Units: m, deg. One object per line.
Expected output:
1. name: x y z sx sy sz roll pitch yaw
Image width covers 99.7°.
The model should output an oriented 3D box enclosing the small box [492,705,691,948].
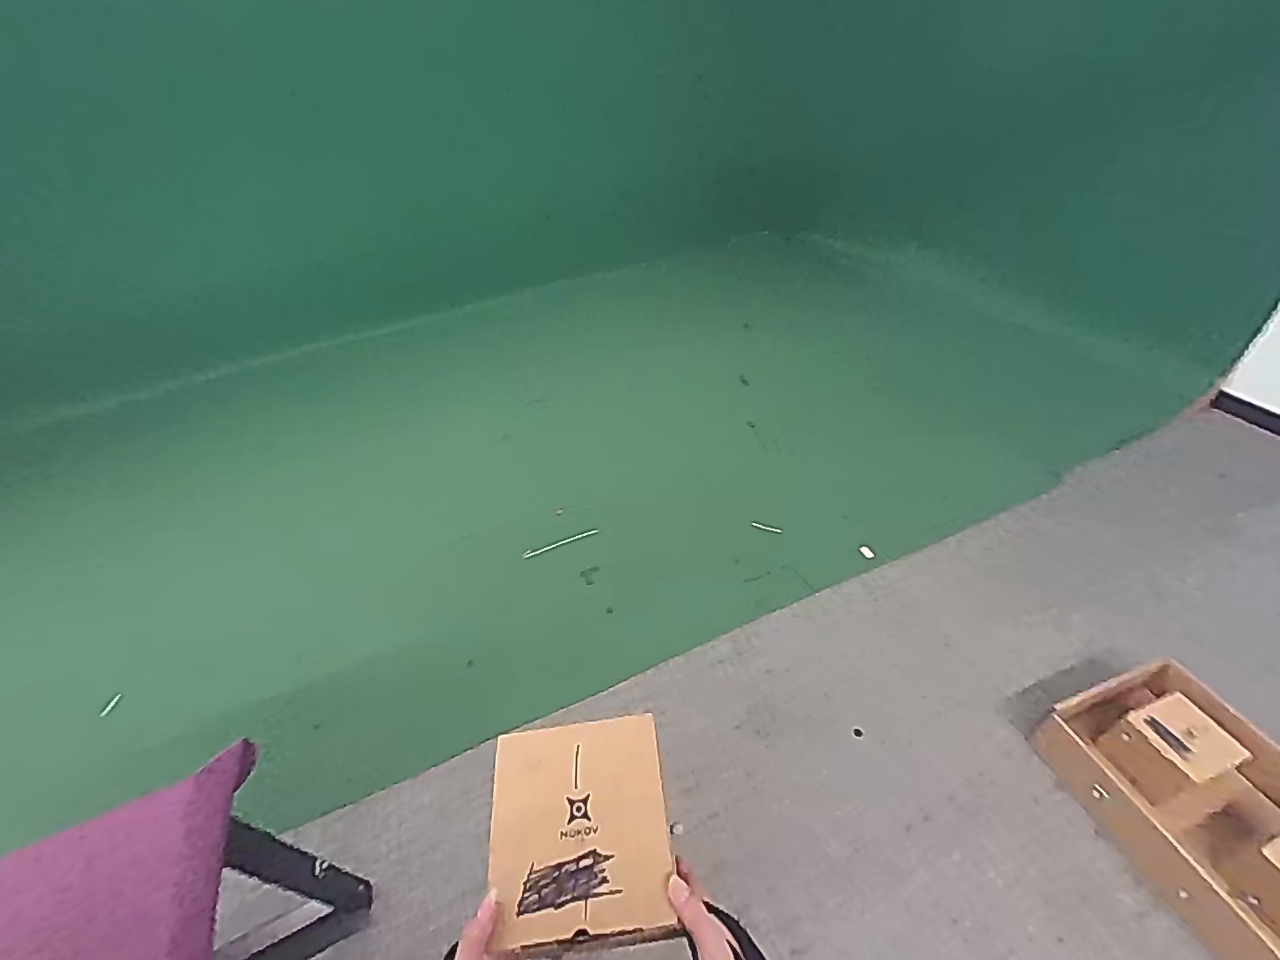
1. small box: -0.042 0.359 0.556 0.168 0.176 0.179 -8 46 -1

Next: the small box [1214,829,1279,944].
1. small box: 1.373 0.835 1.118 0.179 0.176 0.168 -17 42 -10
